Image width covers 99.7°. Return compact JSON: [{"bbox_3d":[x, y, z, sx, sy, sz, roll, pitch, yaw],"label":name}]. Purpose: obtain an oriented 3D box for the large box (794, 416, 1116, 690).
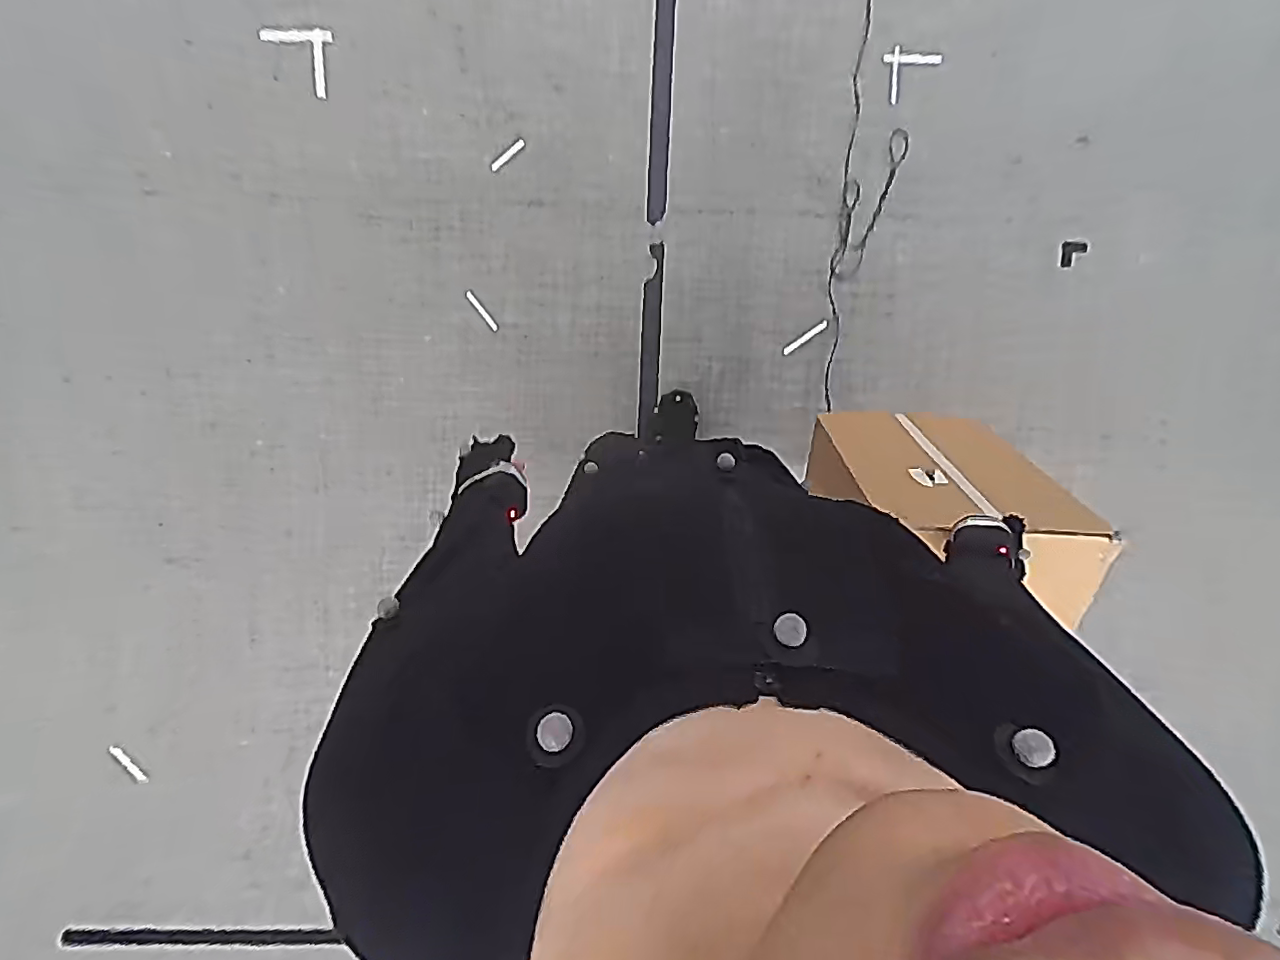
[{"bbox_3d":[0.493,0.108,0.974,0.320,0.408,0.320,1,120,2],"label":"large box"}]
